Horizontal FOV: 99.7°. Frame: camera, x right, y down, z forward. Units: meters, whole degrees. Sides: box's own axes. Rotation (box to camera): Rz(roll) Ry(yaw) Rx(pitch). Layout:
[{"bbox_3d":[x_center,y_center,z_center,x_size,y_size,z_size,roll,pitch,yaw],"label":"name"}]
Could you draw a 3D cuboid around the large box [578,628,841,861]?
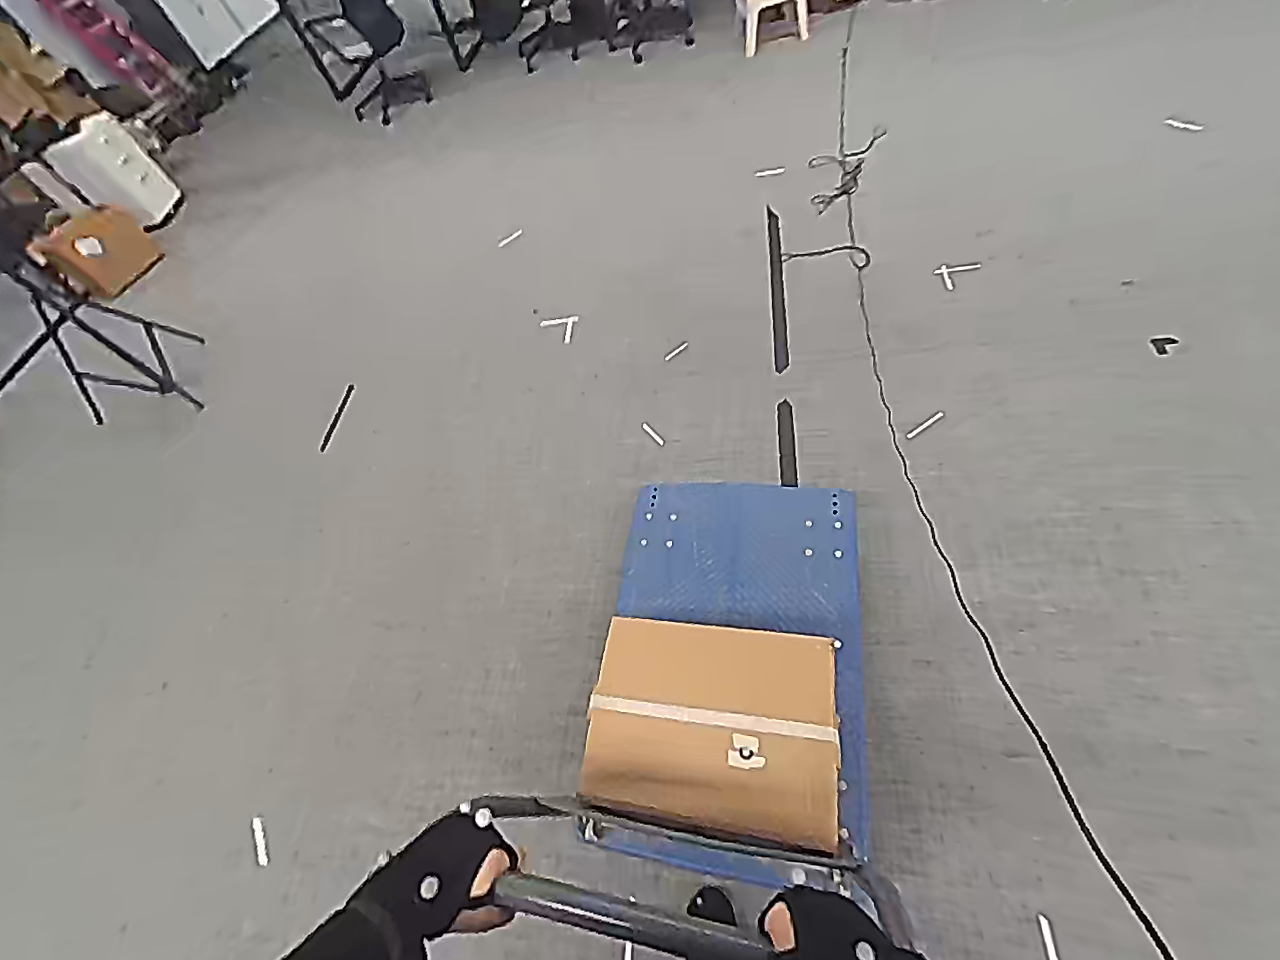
[{"bbox_3d":[0.142,0.490,1.008,0.408,0.320,0.320,1,57,15],"label":"large box"}]
